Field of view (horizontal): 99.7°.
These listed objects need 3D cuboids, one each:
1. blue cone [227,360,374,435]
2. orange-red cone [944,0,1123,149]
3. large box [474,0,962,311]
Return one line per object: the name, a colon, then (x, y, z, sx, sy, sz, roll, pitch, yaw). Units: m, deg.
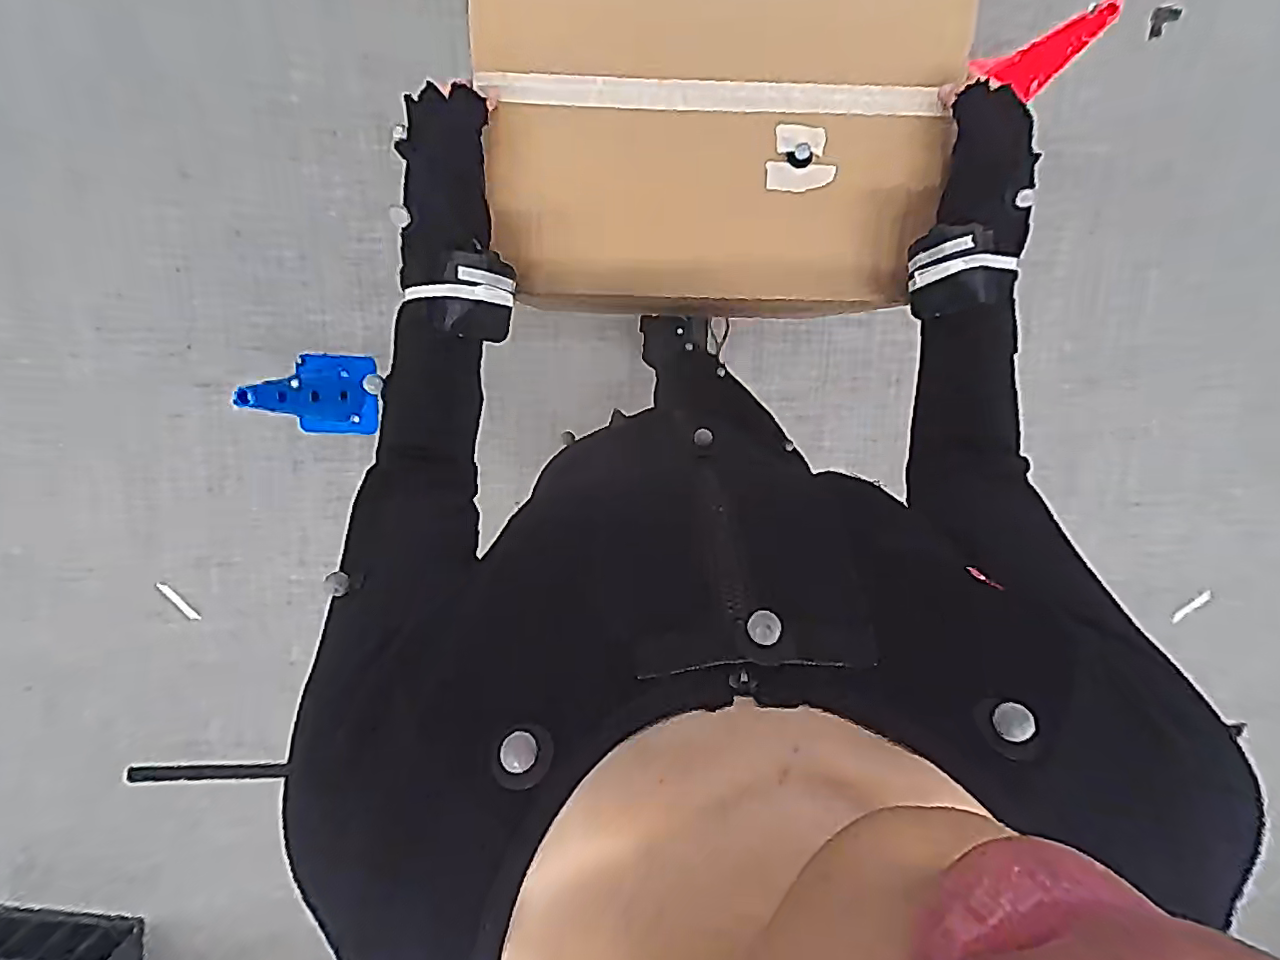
blue cone: (-0.780, -0.185, 1.235, 0.192, 0.380, 0.193, 3, 99, -2)
orange-red cone: (0.858, -0.901, 1.165, 0.198, 0.360, 0.199, -3, 98, -3)
large box: (0.057, -0.360, 0.596, 0.408, 0.320, 0.320, 0, 104, -3)
